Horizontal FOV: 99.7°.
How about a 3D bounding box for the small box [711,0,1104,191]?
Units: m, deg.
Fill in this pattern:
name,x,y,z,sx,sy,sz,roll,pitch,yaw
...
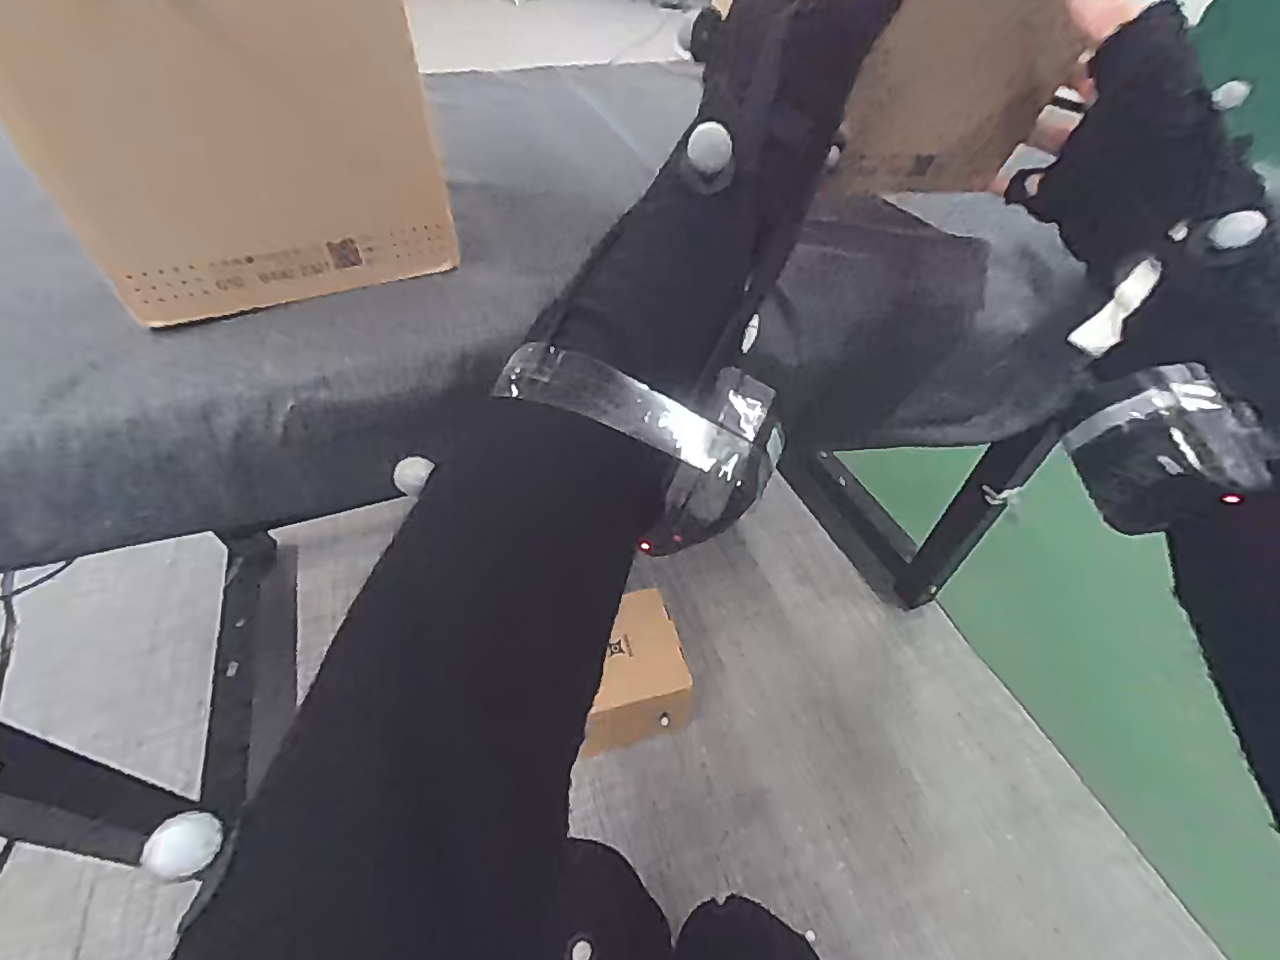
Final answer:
name,x,y,z,sx,sy,sz,roll,pitch,yaw
small box,0.150,-0.297,0.319,0.168,0.176,0.179,-5,63,-9
